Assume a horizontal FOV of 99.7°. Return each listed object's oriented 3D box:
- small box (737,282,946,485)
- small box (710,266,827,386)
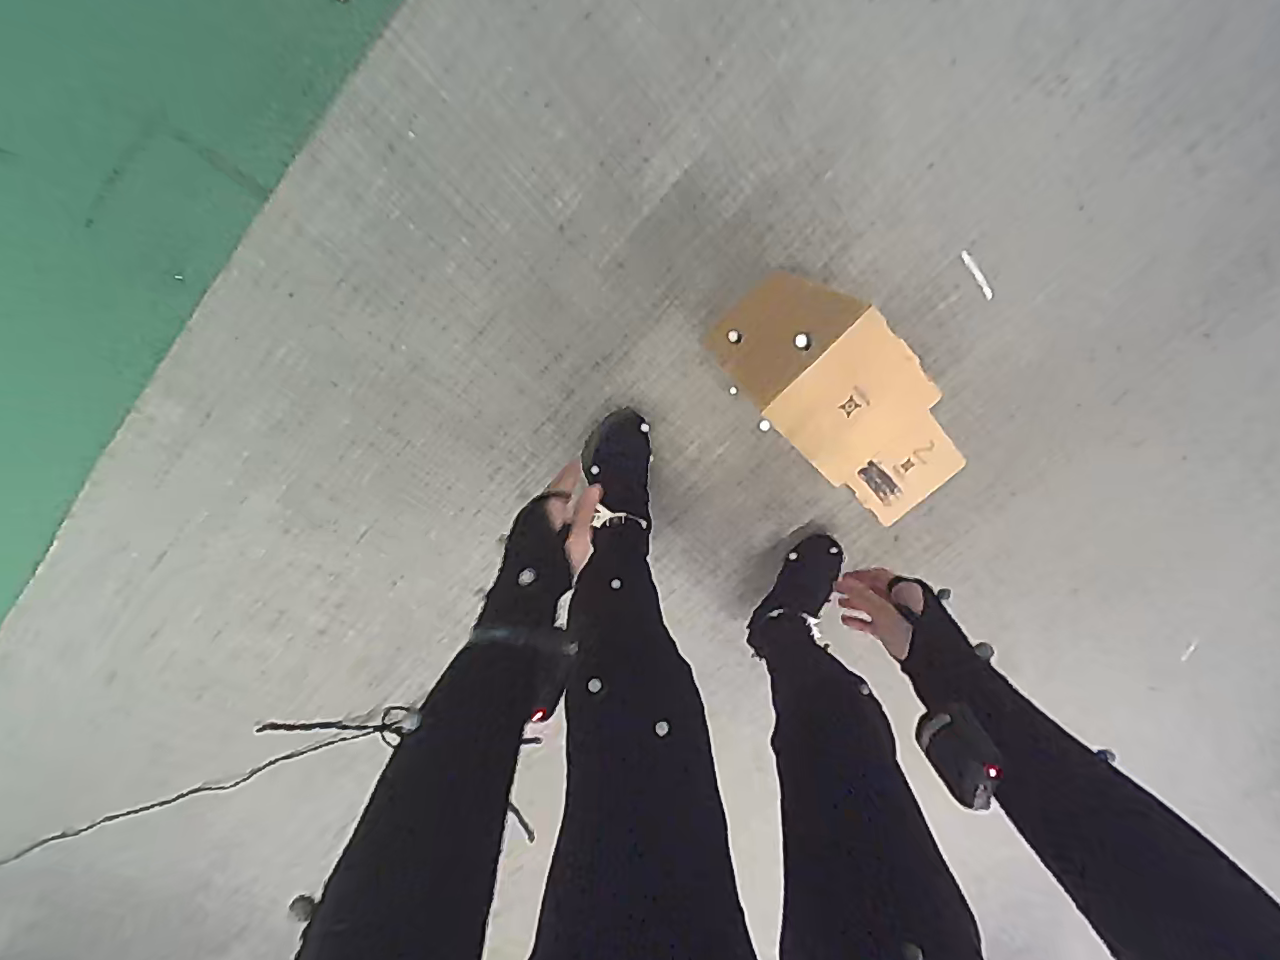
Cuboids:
[{"bbox_3d":[0.248,-0.132,0.714,0.168,0.176,0.179,40,107,-24],"label":"small box"},{"bbox_3d":[0.229,-0.210,0.855,0.179,0.176,0.168,-41,116,14],"label":"small box"}]
